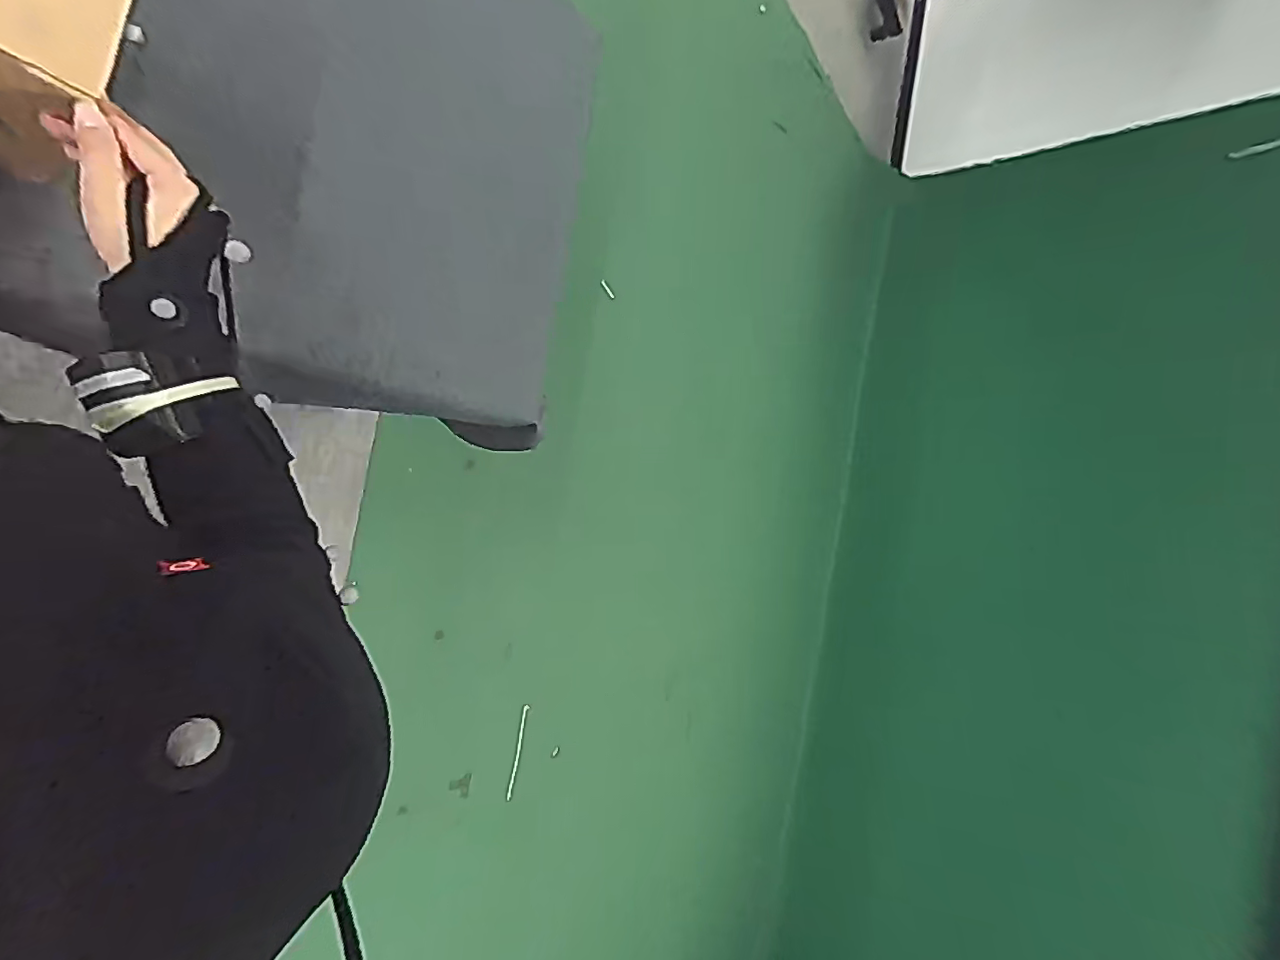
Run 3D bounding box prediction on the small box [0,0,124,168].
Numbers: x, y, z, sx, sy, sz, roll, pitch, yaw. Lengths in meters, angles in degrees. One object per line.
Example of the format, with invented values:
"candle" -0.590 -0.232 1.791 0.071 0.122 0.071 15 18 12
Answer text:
"small box" -0.429 -0.323 0.313 0.168 0.176 0.179 17 76 -57
